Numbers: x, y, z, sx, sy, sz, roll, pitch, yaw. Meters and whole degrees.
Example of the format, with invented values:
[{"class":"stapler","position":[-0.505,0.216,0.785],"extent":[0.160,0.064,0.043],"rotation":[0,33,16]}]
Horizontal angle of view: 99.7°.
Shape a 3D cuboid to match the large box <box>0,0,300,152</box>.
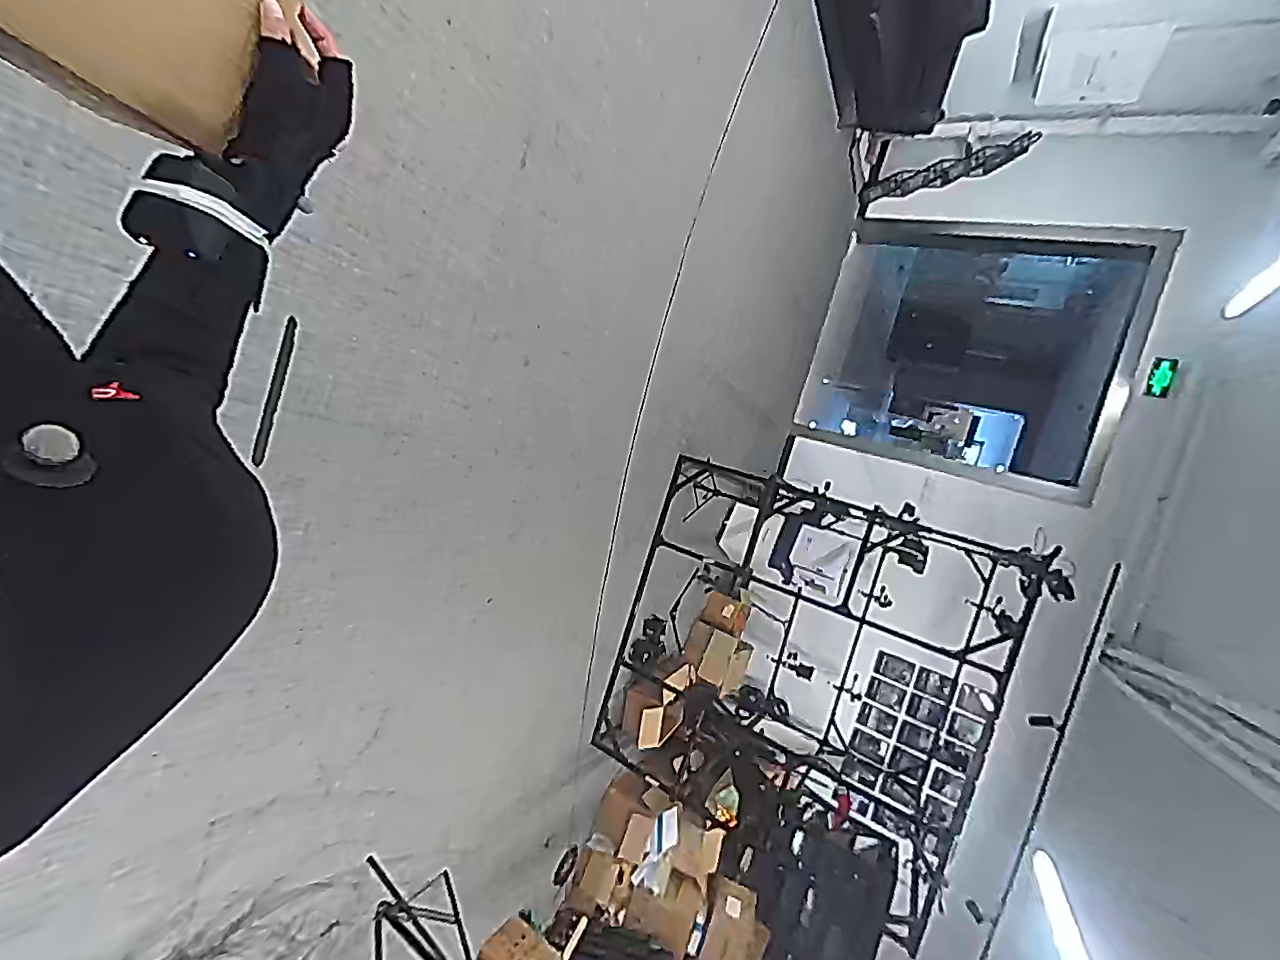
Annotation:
[{"class":"large box","position":[-0.468,-0.497,0.327],"extent":[0.320,0.320,0.408],"rotation":[-61,152,3]}]
